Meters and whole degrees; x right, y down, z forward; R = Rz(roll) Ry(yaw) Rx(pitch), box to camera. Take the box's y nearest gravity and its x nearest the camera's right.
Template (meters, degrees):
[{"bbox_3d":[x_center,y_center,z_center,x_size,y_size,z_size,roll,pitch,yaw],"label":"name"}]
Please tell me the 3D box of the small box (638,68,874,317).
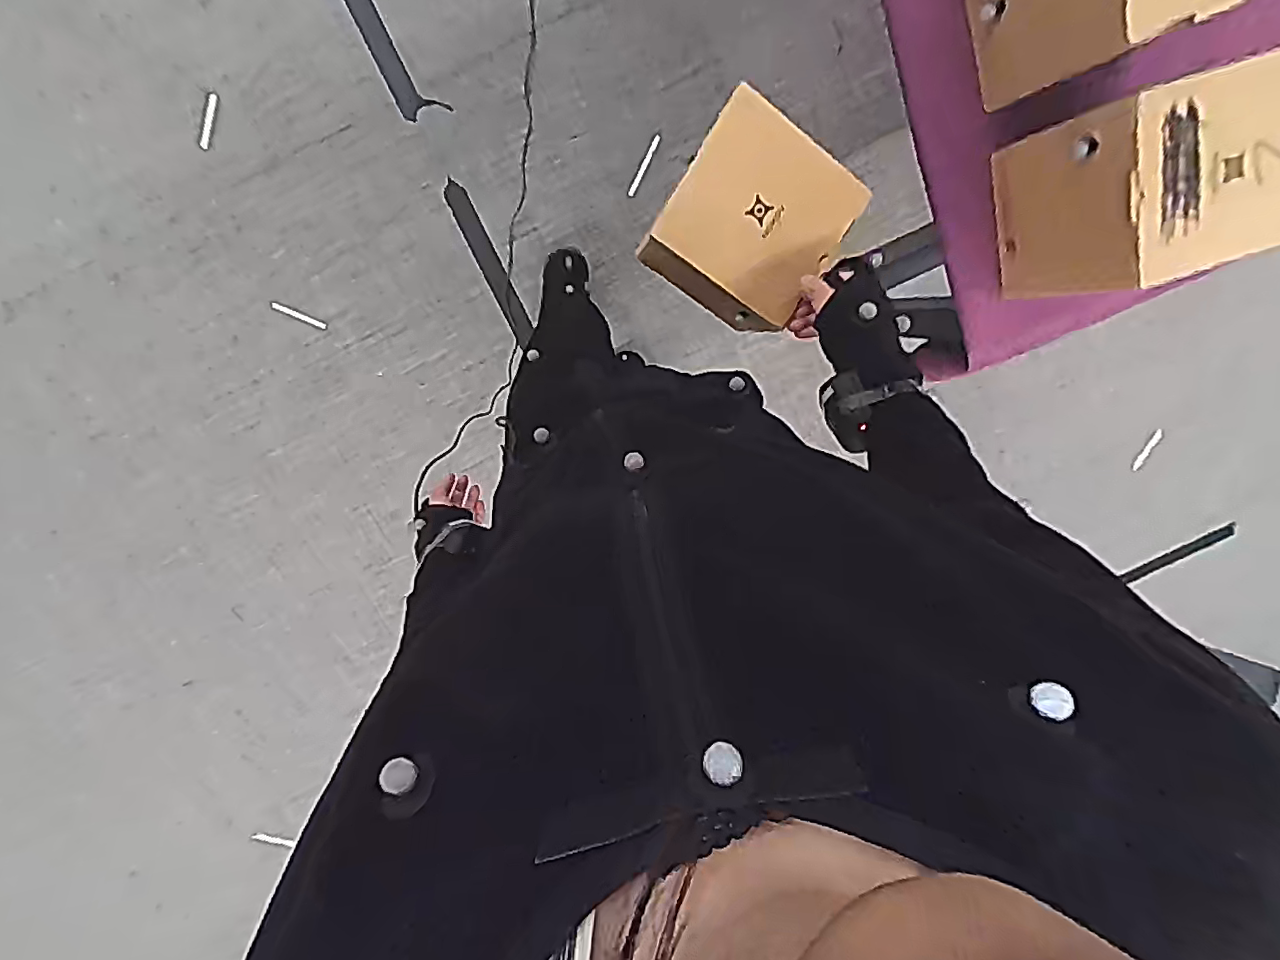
[{"bbox_3d":[0.113,-0.300,0.614,0.179,0.176,0.168,30,101,-15],"label":"small box"}]
